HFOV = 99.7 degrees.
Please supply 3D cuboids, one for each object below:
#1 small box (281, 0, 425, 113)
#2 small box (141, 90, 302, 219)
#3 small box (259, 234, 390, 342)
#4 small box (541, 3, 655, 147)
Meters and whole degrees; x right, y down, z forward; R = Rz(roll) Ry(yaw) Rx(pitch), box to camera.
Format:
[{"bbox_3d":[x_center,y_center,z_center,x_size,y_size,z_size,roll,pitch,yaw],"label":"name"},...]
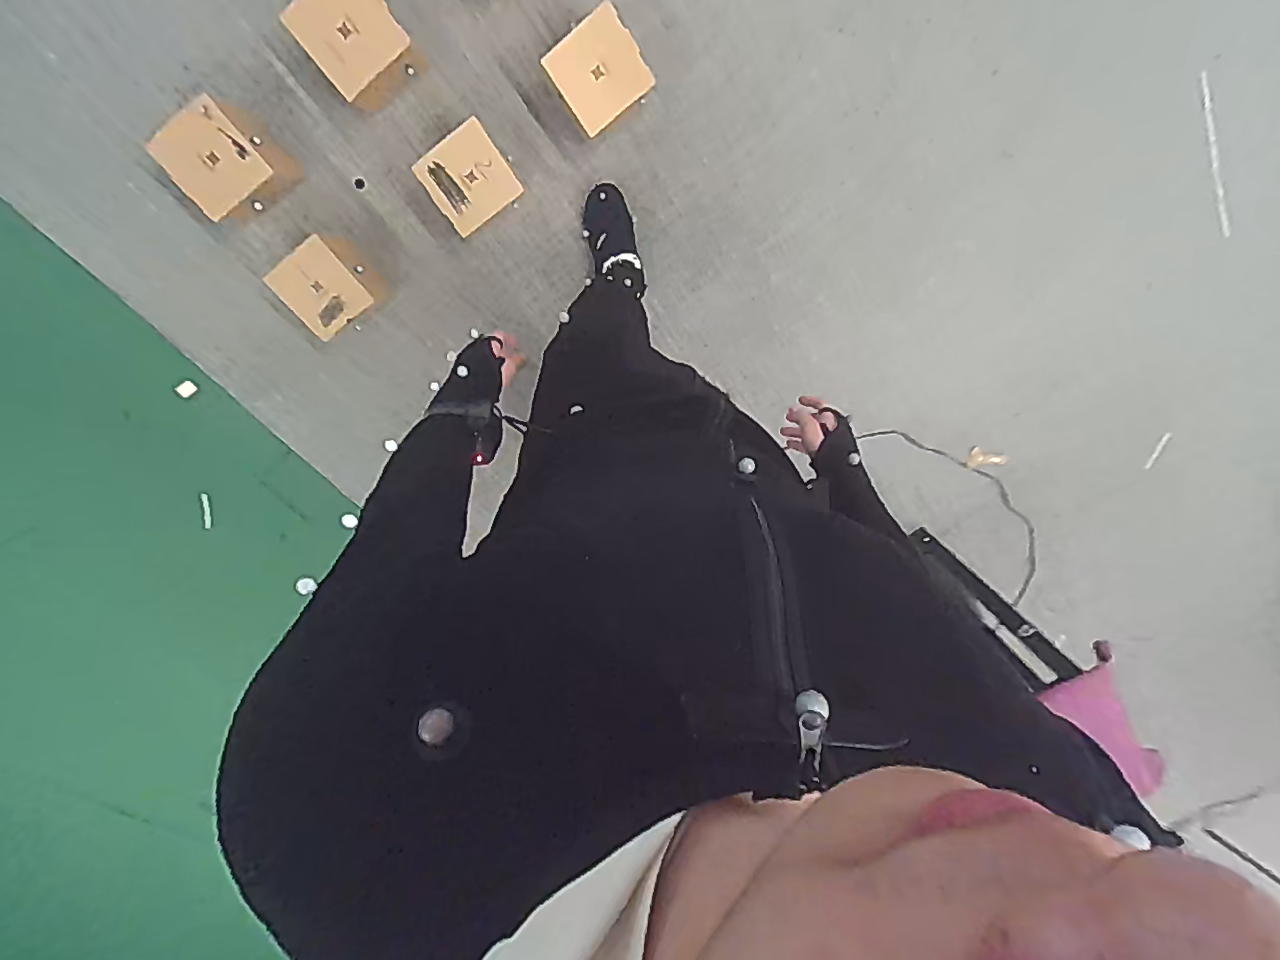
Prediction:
[{"bbox_3d":[-0.559,-0.883,1.087,0.179,0.176,0.168,-34,115,10],"label":"small box"},{"bbox_3d":[-0.869,-0.676,1.146,0.179,0.176,0.168,-31,116,9],"label":"small box"},{"bbox_3d":[-0.727,-0.457,1.272,0.168,0.176,0.179,-33,115,9],"label":"small box"},{"bbox_3d":[-0.091,-0.855,1.165,0.179,0.176,0.168,-36,115,9],"label":"small box"}]
